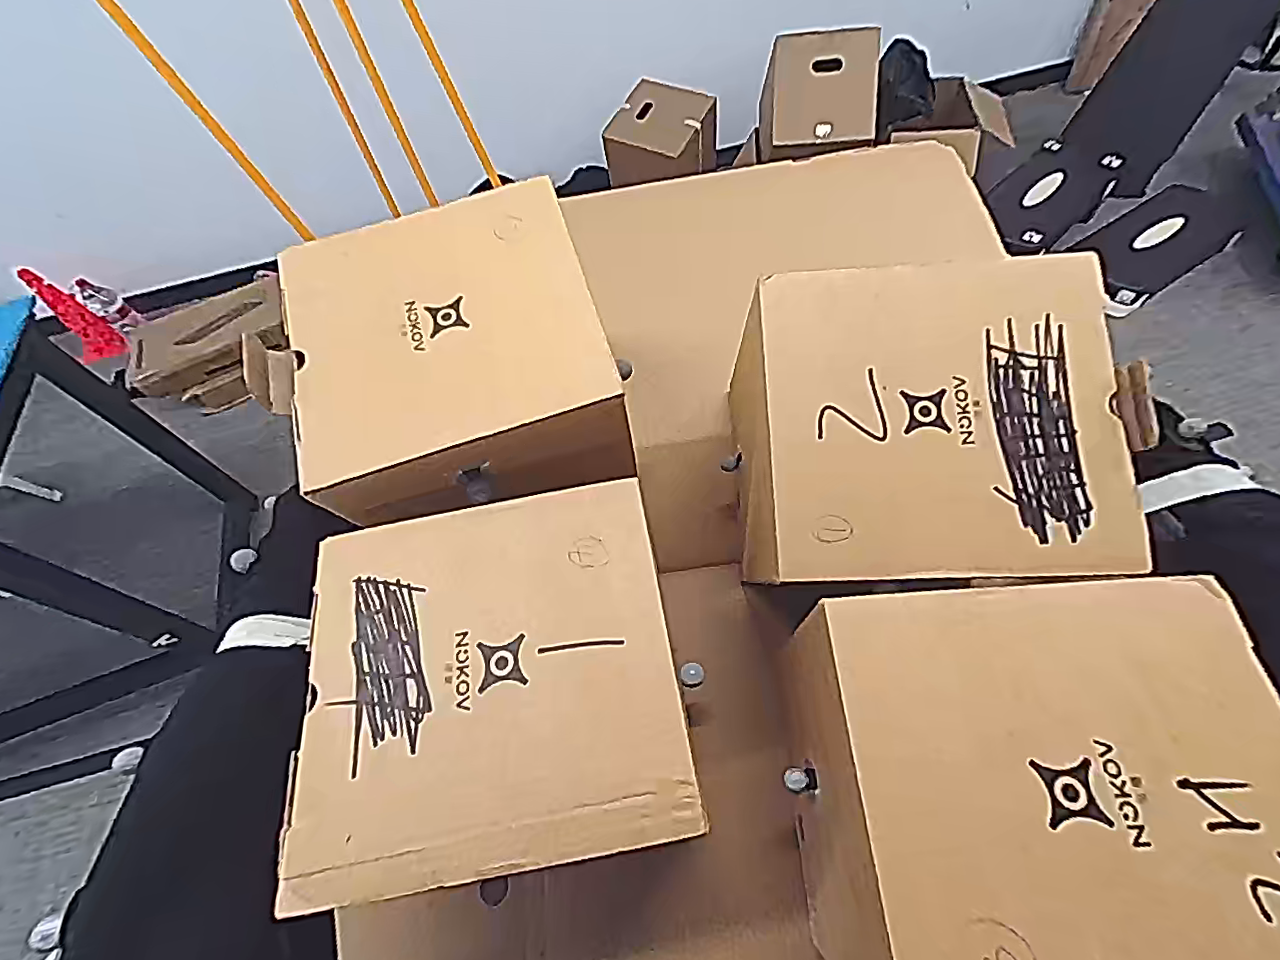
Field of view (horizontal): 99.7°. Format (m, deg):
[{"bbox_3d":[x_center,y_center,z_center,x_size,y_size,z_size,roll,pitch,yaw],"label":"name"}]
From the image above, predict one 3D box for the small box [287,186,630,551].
[{"bbox_3d":[-0.111,-0.063,0.390,0.179,0.176,0.168,-18,69,-2],"label":"small box"}]
